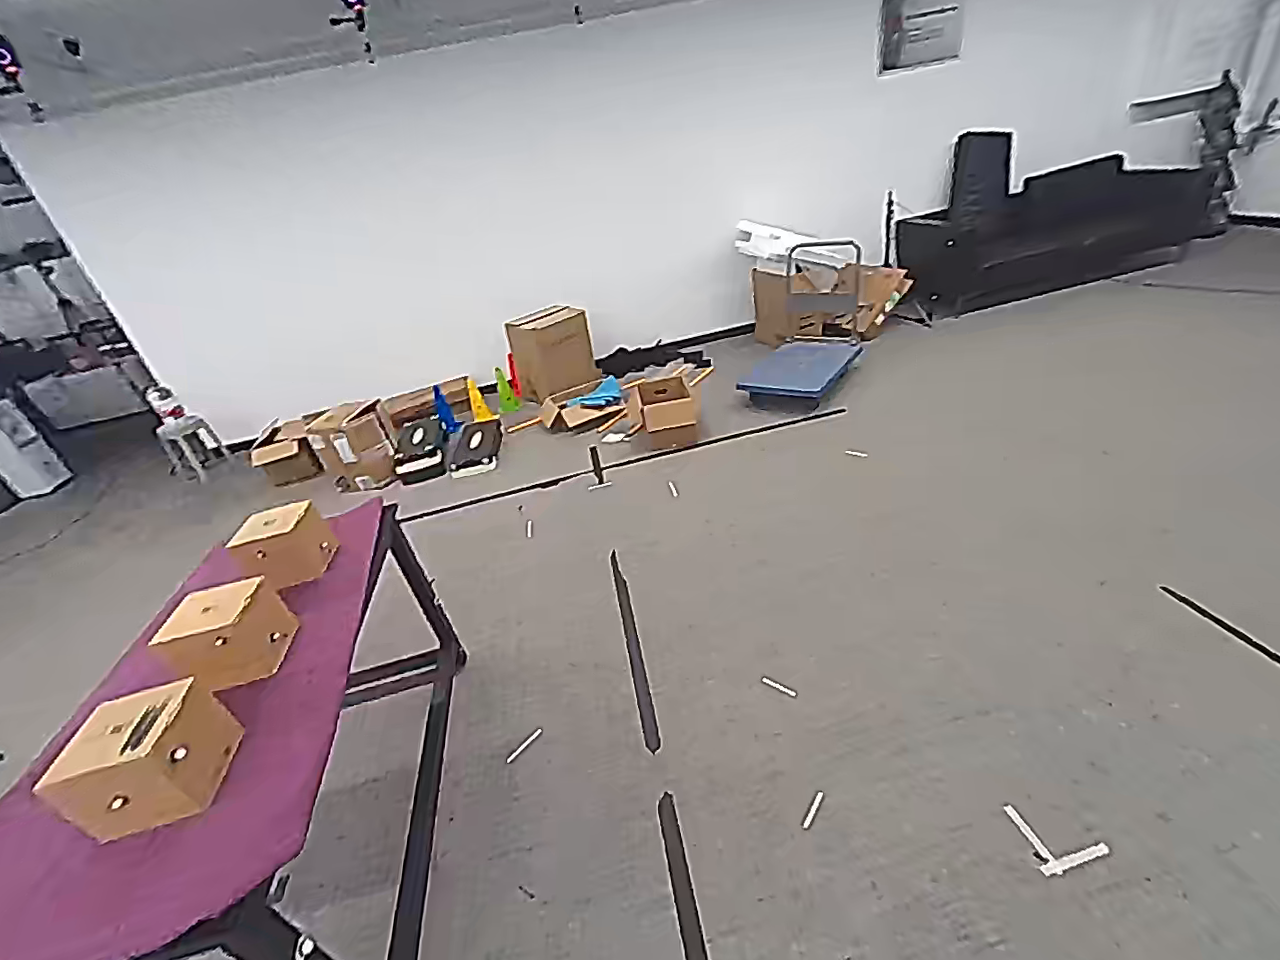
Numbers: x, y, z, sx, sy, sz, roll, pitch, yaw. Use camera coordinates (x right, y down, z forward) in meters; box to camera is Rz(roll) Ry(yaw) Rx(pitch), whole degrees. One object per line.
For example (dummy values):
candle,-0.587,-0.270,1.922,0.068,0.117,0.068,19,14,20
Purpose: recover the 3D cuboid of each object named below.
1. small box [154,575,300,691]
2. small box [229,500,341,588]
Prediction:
small box,-0.927,0.350,1.234,0.179,0.176,0.168,-14,30,-5
small box,-0.990,0.185,1.525,0.179,0.176,0.168,-14,31,-2
